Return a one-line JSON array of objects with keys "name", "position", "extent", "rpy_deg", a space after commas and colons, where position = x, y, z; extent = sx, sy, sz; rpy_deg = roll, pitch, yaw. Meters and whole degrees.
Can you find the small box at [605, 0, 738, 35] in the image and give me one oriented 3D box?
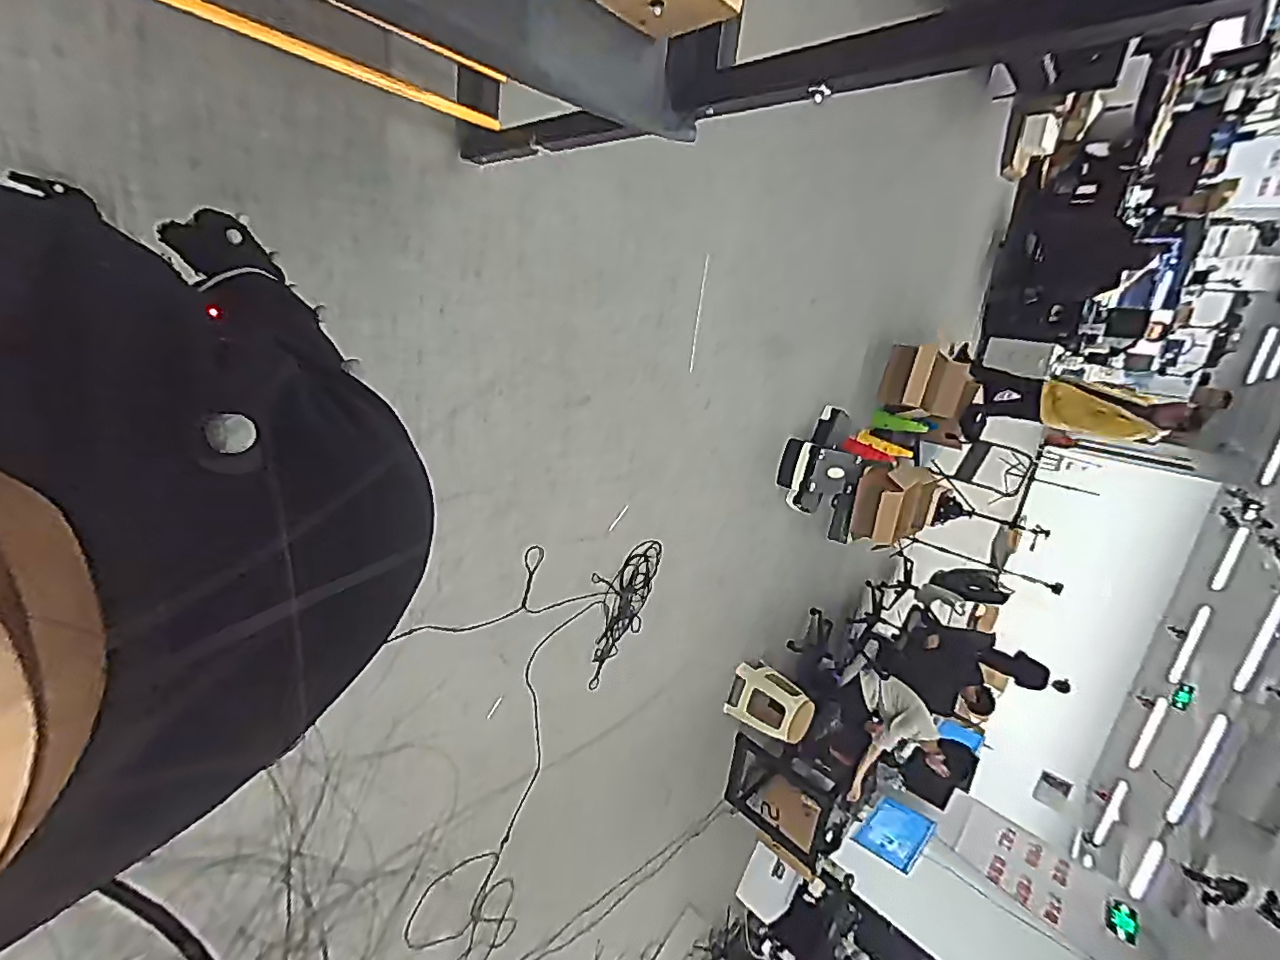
[{"name": "small box", "position": [0.038, -0.780, 0.768], "extent": [0.168, 0.176, 0.179], "rpy_deg": [-12, 115, -45]}]
